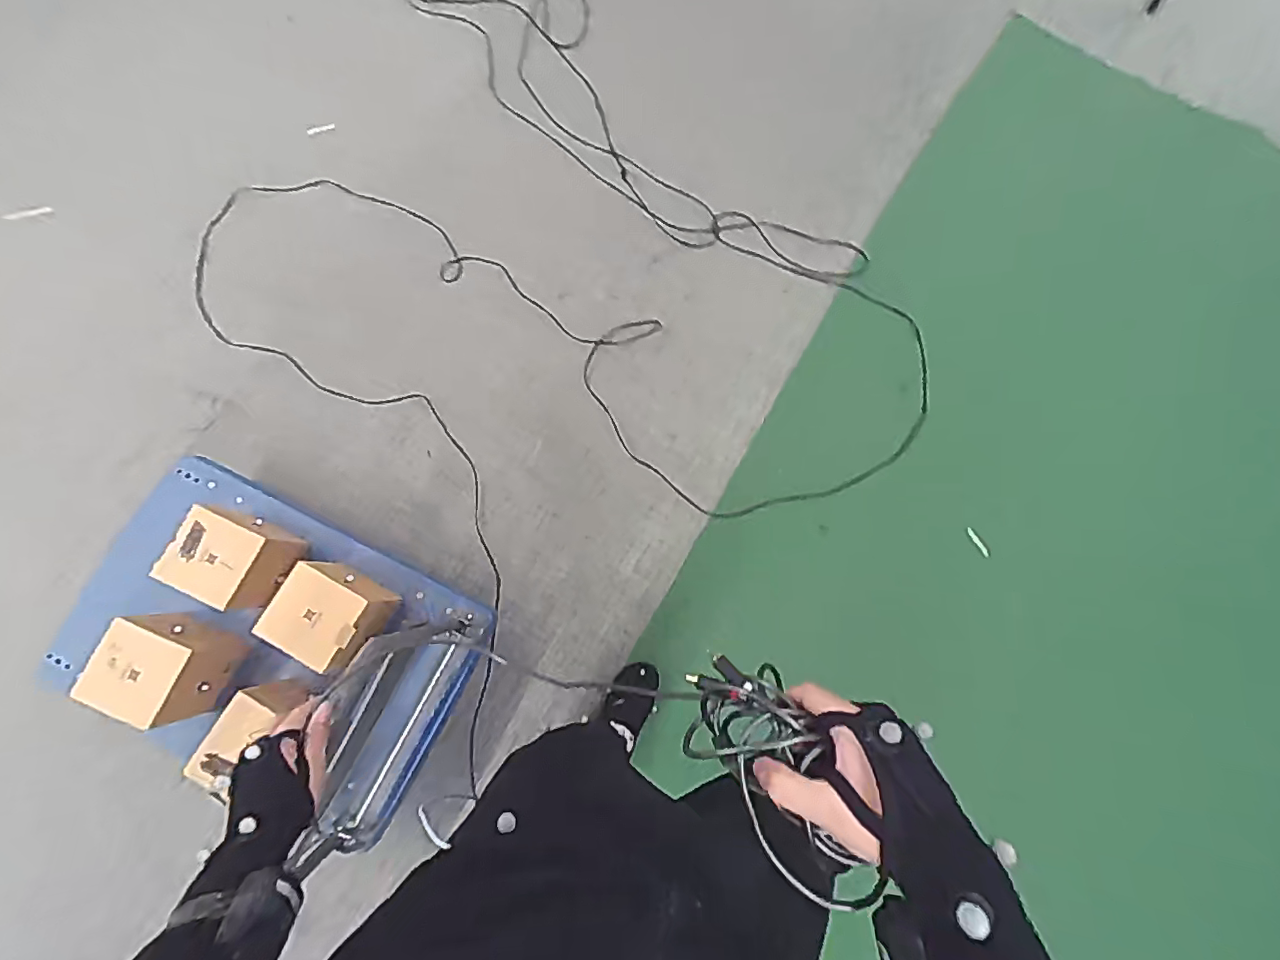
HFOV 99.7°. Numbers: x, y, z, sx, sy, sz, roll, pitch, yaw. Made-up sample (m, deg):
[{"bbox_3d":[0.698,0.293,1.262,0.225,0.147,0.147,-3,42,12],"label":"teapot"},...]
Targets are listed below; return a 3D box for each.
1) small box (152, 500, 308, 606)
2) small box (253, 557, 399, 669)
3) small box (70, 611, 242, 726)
[{"bbox_3d":[-0.885,0.163,1.186,0.179,0.176,0.168,26,80,2],"label":"small box"},{"bbox_3d":[-0.668,0.285,1.172,0.179,0.176,0.168,29,80,3],"label":"small box"},{"bbox_3d":[-1.001,0.385,1.139,0.179,0.176,0.168,24,79,3],"label":"small box"}]
